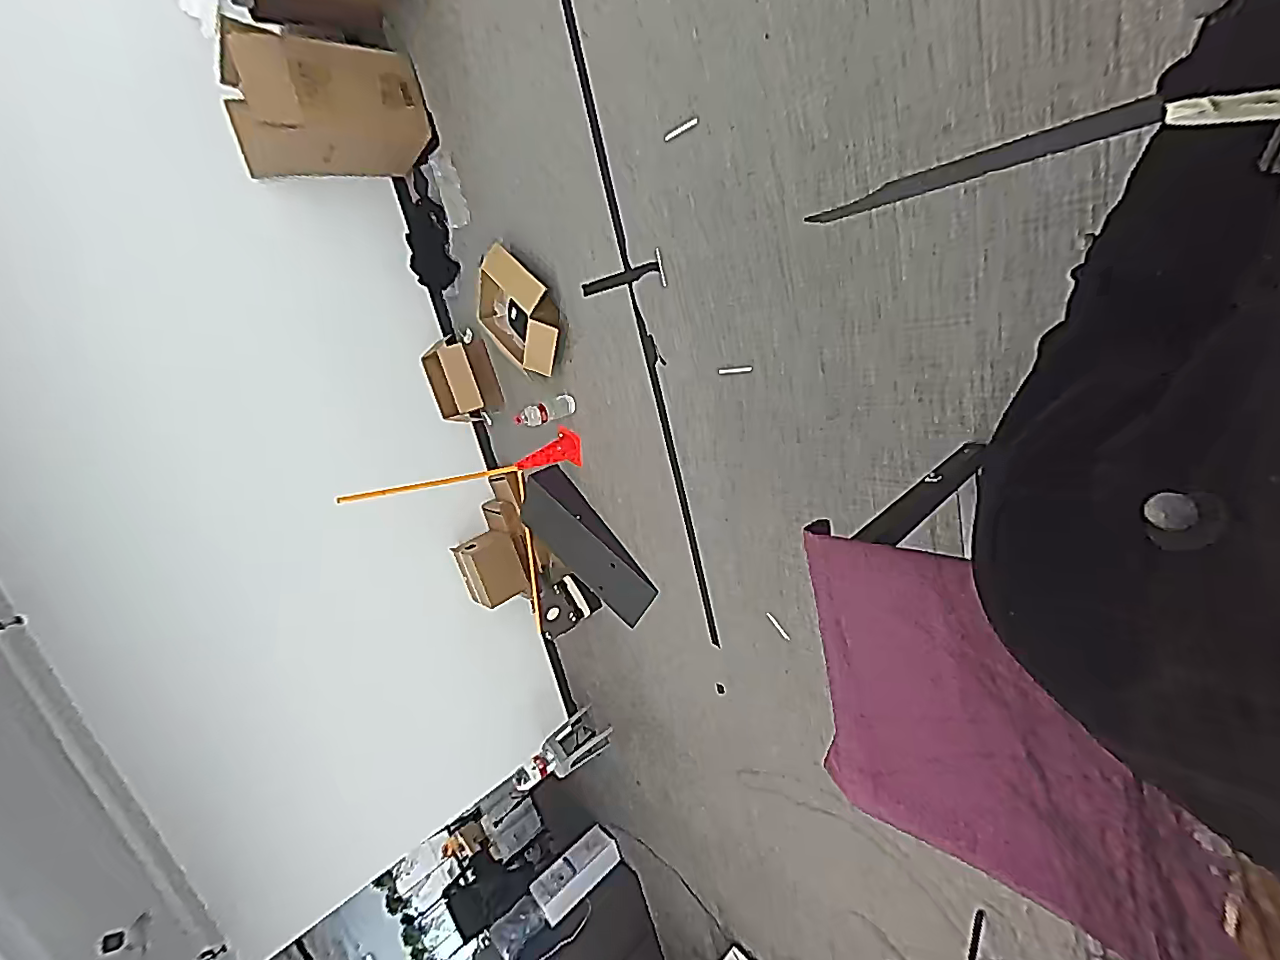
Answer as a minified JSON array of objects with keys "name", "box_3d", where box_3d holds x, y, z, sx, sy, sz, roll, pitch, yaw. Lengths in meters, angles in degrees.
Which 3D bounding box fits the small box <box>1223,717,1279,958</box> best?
[{"name":"small box","box_3d":[0.714,0.379,0.531,0.168,0.176,0.179,10,119,49]}]
